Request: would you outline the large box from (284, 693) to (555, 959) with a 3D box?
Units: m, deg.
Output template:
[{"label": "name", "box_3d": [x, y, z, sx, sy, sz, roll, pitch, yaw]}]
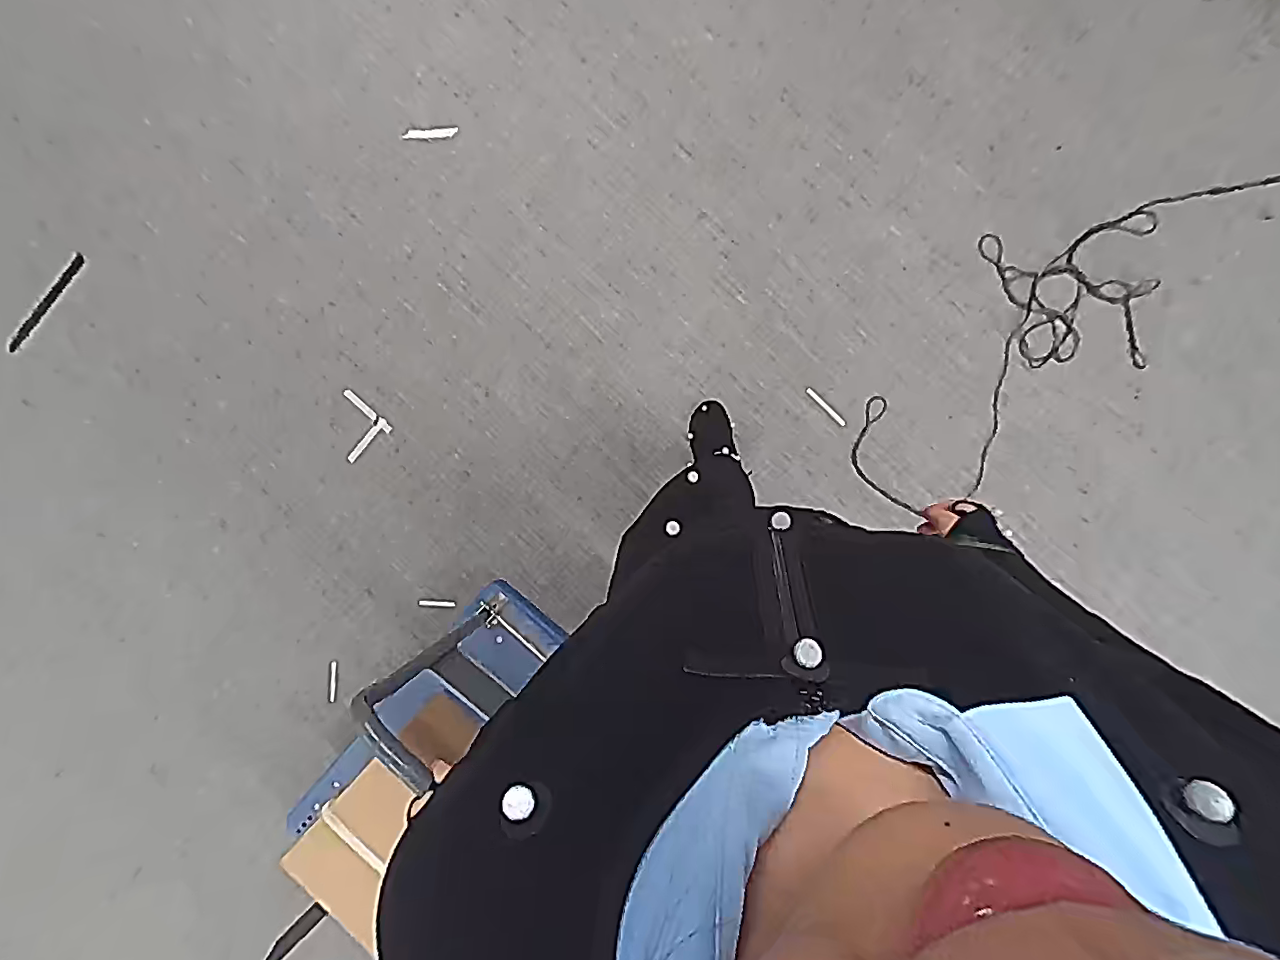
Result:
[{"label": "large box", "box_3d": [-0.462, 0.773, 1.217, 0.408, 0.320, 0.320, 43, 94, 1]}]
